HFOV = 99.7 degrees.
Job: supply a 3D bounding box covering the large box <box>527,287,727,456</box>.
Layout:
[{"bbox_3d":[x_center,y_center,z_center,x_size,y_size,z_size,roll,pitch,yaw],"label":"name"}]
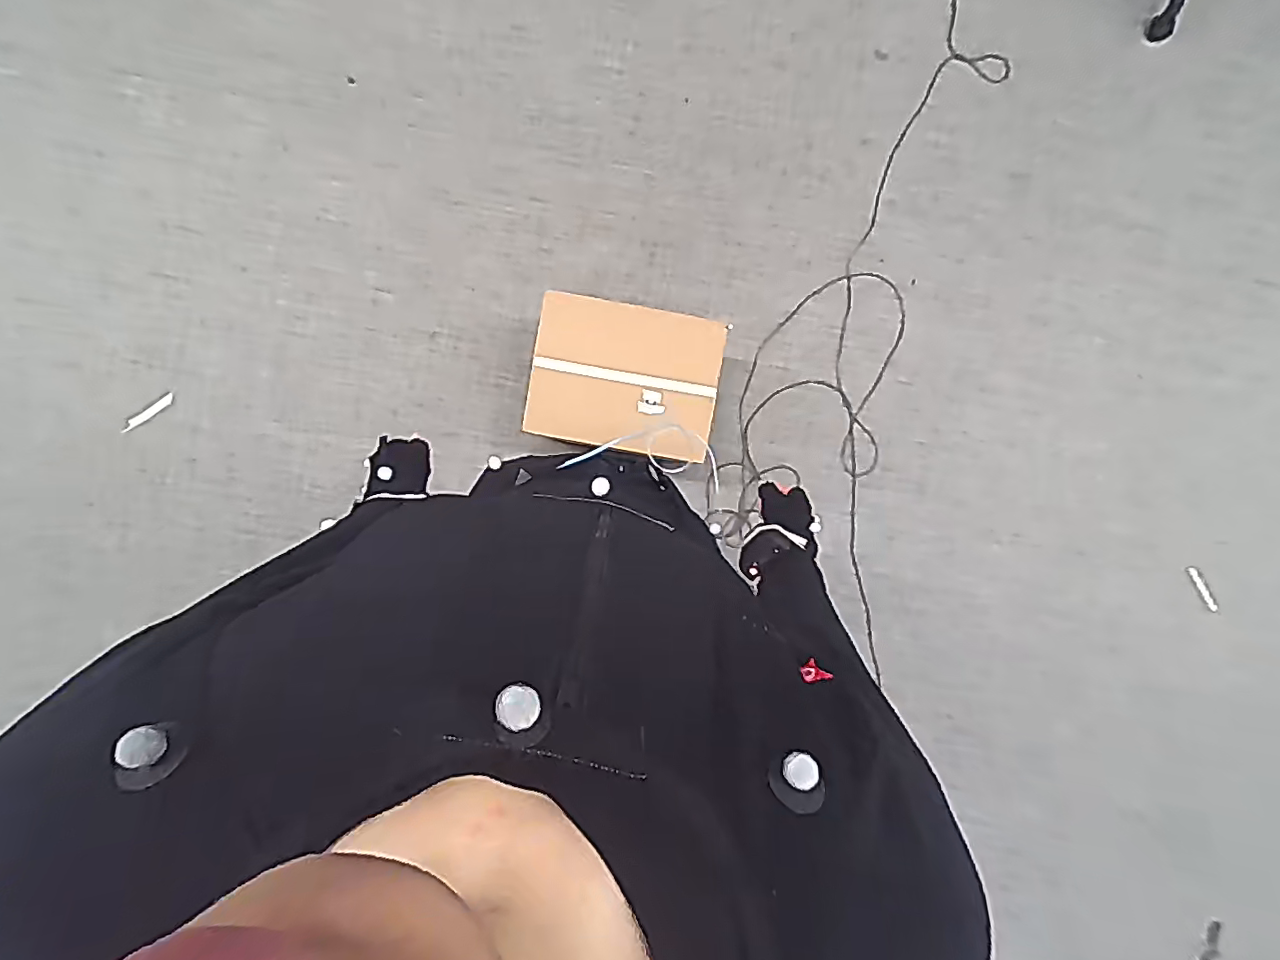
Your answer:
[{"bbox_3d":[-0.035,-0.242,1.326,0.408,0.320,0.320,10,93,-2],"label":"large box"}]
